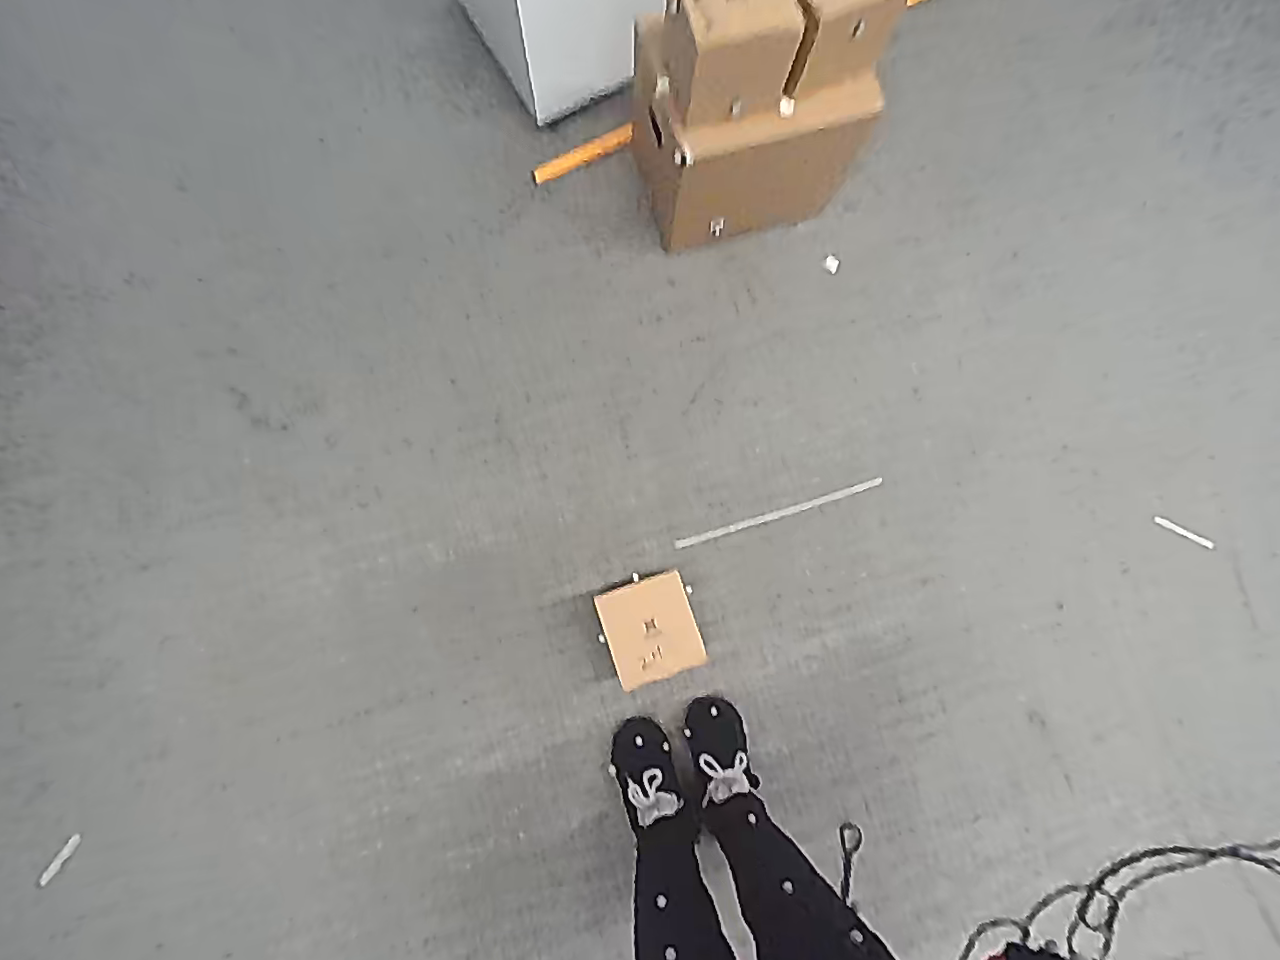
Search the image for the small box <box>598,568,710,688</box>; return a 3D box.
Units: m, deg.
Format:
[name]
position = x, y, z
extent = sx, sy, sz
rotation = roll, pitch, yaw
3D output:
[small box]
position = 0.020, 0.281, 1.059
extent = 0.168, 0.176, 0.179
rotation = -18, 82, -4
